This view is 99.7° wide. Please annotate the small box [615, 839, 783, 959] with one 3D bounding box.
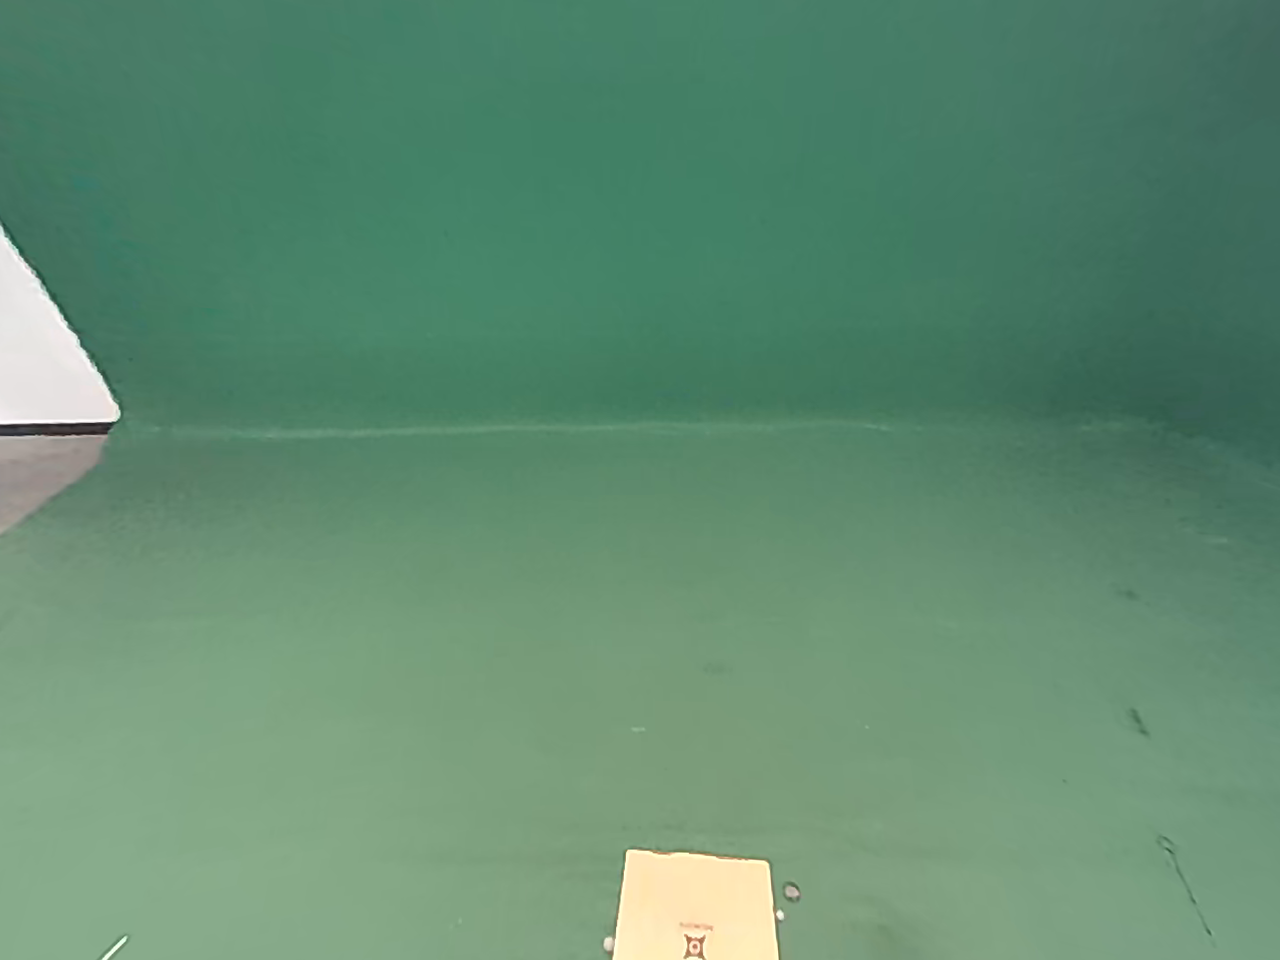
[{"bbox_3d":[0.063,0.529,0.577,0.168,0.176,0.179,1,23,6],"label":"small box"}]
